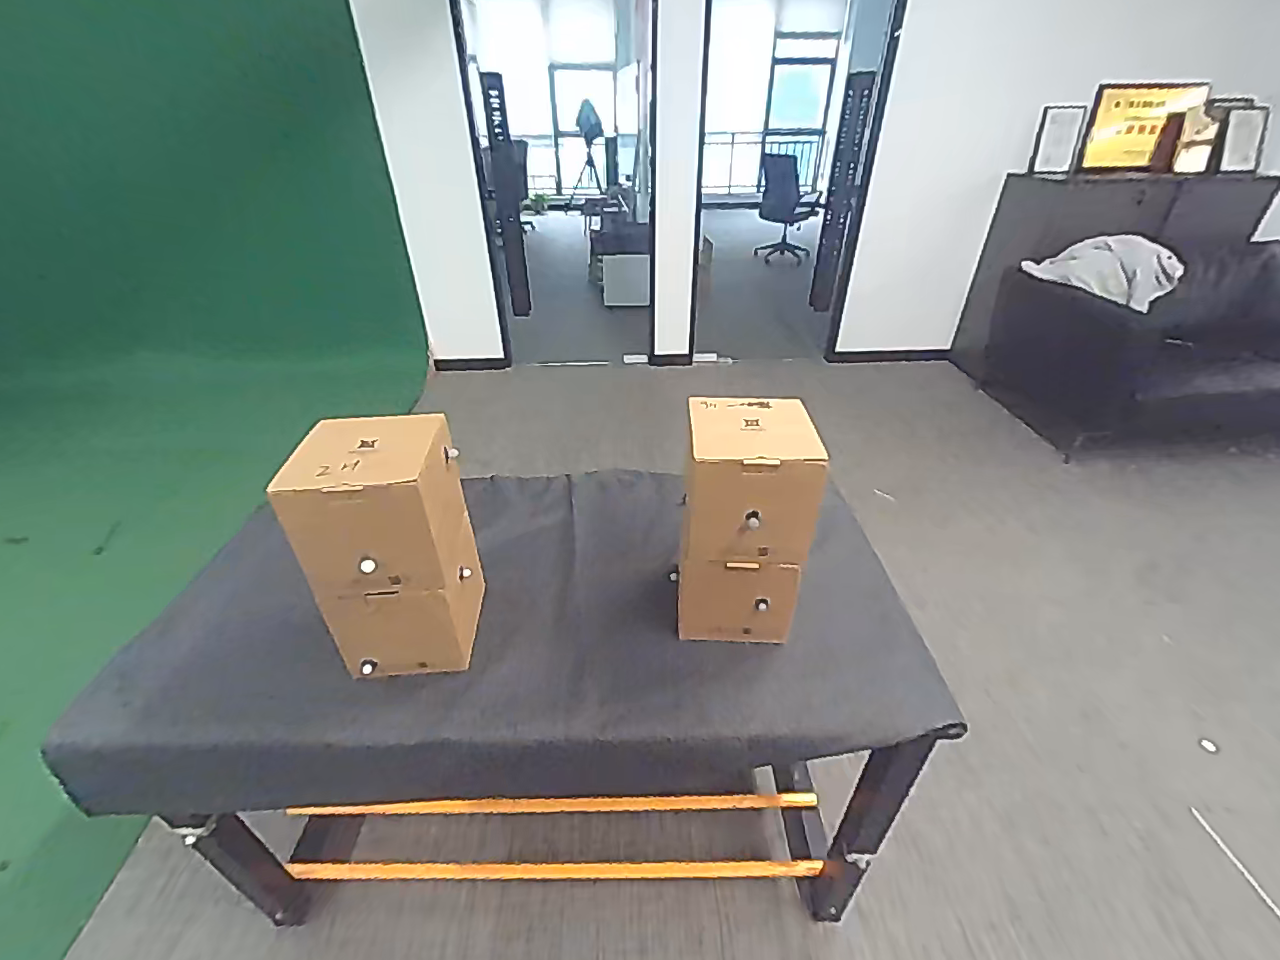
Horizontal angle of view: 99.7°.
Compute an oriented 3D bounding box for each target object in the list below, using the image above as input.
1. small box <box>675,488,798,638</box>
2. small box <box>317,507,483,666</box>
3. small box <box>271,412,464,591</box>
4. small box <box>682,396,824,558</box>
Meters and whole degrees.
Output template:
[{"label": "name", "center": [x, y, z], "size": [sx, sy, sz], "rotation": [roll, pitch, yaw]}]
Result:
[{"label": "small box", "center": [0.143, 0.131, 0.859], "size": [0.168, 0.176, 0.179], "rotation": [3, 34, 2]}, {"label": "small box", "center": [-0.341, 0.162, 0.811], "size": [0.168, 0.176, 0.179], "rotation": [-2, 33, -4]}, {"label": "small box", "center": [-0.341, 0.024, 0.720], "size": [0.168, 0.176, 0.179], "rotation": [-4, 35, -5]}, {"label": "small box", "center": [0.147, -0.005, 0.767], "size": [0.168, 0.176, 0.179], "rotation": [2, 35, 2]}]
